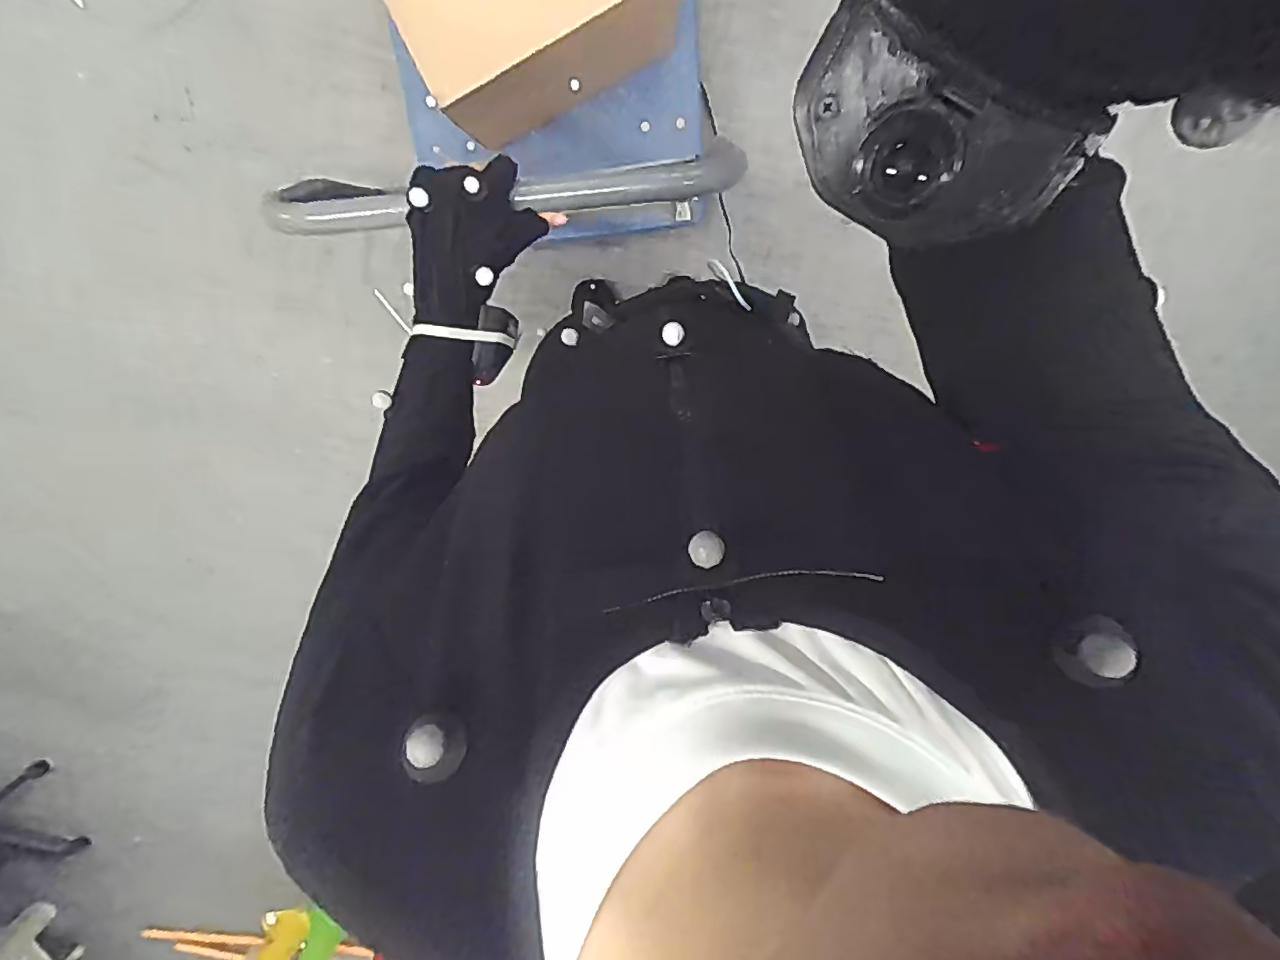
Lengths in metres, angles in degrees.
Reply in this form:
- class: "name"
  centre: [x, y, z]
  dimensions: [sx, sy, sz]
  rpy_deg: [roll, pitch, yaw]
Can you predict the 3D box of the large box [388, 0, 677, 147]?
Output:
- class: "large box"
  centre: [-0.181, -0.822, 0.876]
  dimensions: [0.408, 0.320, 0.320]
  rpy_deg: [-24, 108, 9]
